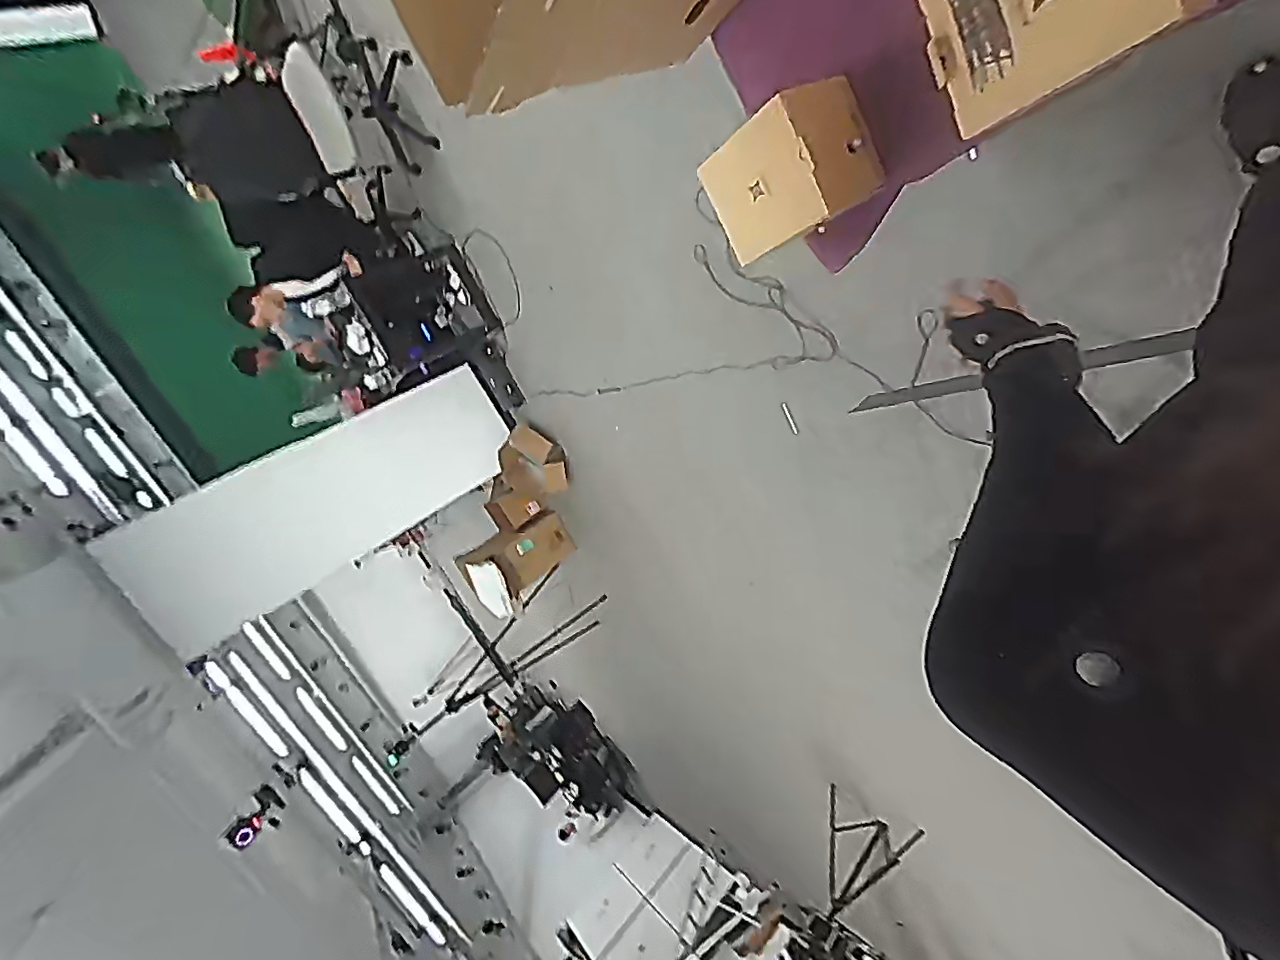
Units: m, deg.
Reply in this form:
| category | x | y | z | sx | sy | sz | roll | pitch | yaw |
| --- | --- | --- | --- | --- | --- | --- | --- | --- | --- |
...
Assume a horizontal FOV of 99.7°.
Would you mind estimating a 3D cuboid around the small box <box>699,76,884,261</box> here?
| category | x | y | z | sx | sy | sz | roll | pitch | yaw |
| --- | --- | --- | --- | --- | --- | --- | --- | --- | --- |
| small box | 0.229 | -0.465 | 0.819 | 0.179 | 0.176 | 0.168 | -11 | 112 | 57 |
